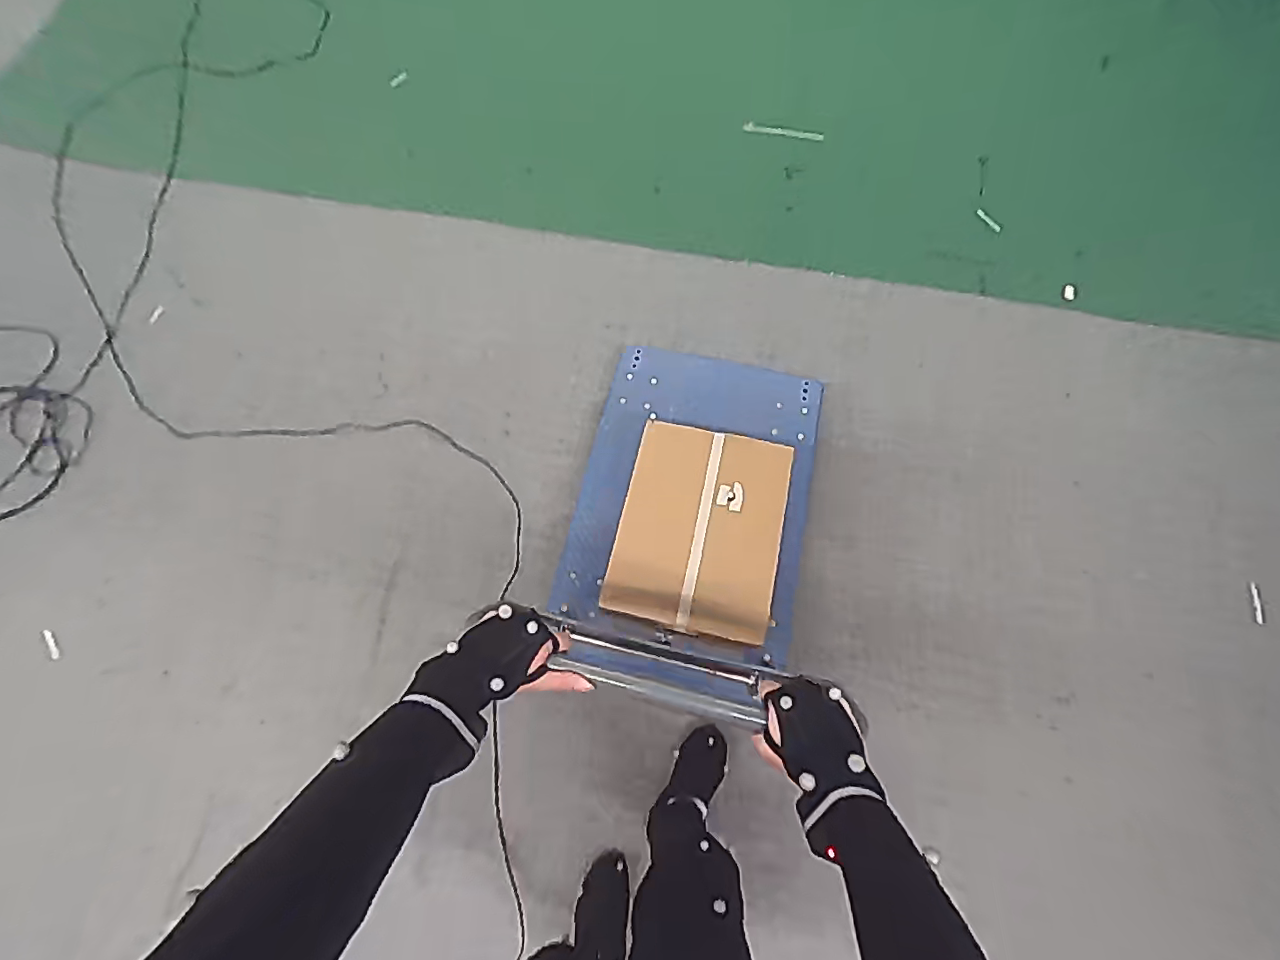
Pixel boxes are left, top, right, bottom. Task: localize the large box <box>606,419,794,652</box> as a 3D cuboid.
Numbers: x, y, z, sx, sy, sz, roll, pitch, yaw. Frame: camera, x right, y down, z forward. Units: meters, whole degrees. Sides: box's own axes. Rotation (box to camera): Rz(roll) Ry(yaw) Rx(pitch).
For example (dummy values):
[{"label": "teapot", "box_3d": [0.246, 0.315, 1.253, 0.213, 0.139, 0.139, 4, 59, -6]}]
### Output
[{"label": "large box", "box_3d": [0.131, 0.135, 1.190, 0.320, 0.320, 0.408, 12, 69, 6]}]
